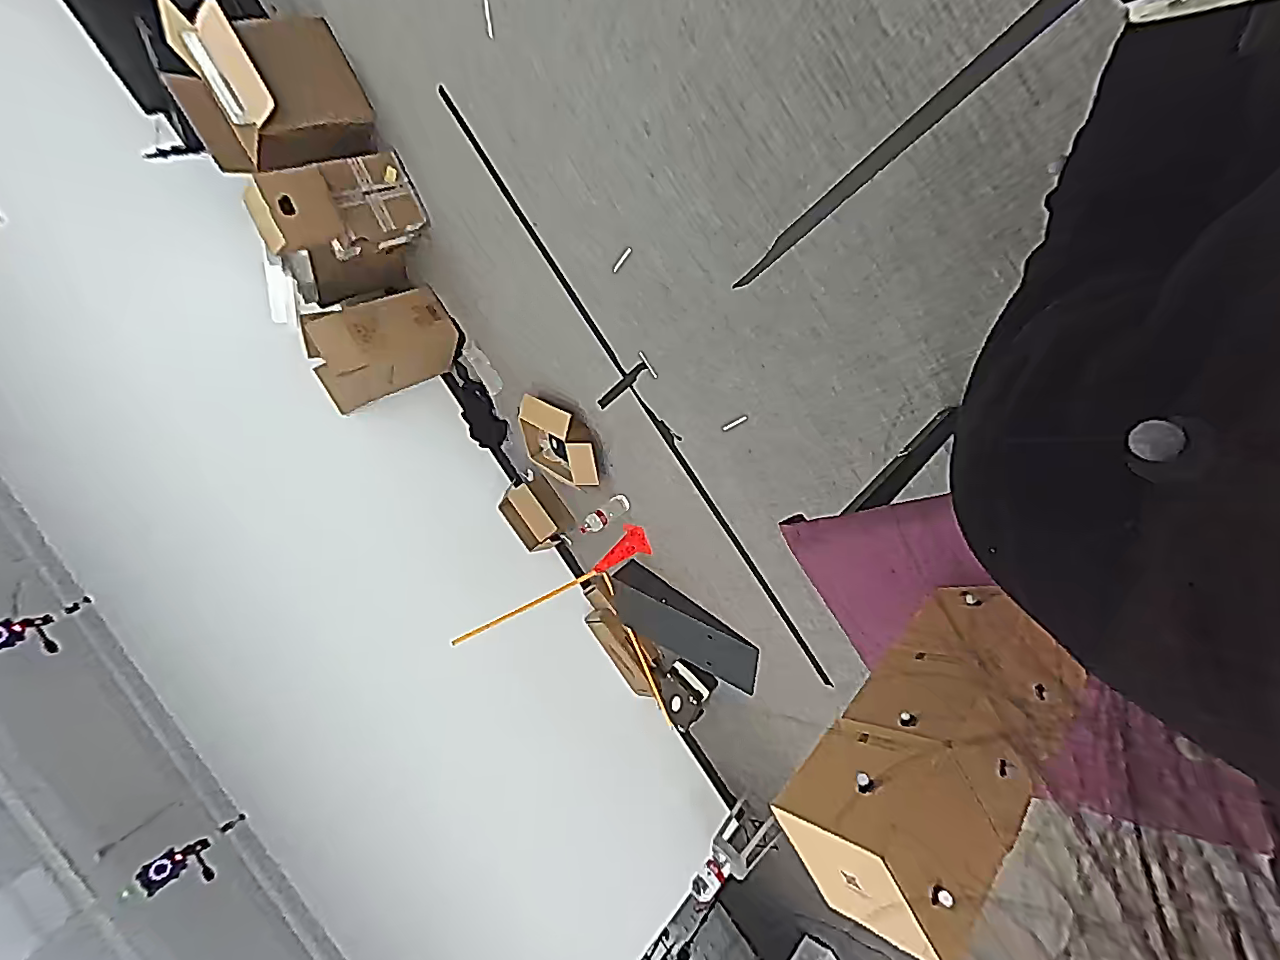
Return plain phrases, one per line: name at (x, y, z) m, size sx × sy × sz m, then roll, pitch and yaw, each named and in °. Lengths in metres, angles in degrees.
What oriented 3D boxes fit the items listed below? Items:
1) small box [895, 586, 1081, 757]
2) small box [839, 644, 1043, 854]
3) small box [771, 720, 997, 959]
small box at (0.545, 0.286, 0.846) m, size 0.179 × 0.176 × 0.168 m, roll 59°, pitch 149°, yaw -5°
small box at (0.426, 0.362, 0.763) m, size 0.179 × 0.176 × 0.168 m, roll 59°, pitch 149°, yaw -7°
small box at (0.306, 0.436, 0.679) m, size 0.179 × 0.176 × 0.168 m, roll 59°, pitch 149°, yaw -7°
